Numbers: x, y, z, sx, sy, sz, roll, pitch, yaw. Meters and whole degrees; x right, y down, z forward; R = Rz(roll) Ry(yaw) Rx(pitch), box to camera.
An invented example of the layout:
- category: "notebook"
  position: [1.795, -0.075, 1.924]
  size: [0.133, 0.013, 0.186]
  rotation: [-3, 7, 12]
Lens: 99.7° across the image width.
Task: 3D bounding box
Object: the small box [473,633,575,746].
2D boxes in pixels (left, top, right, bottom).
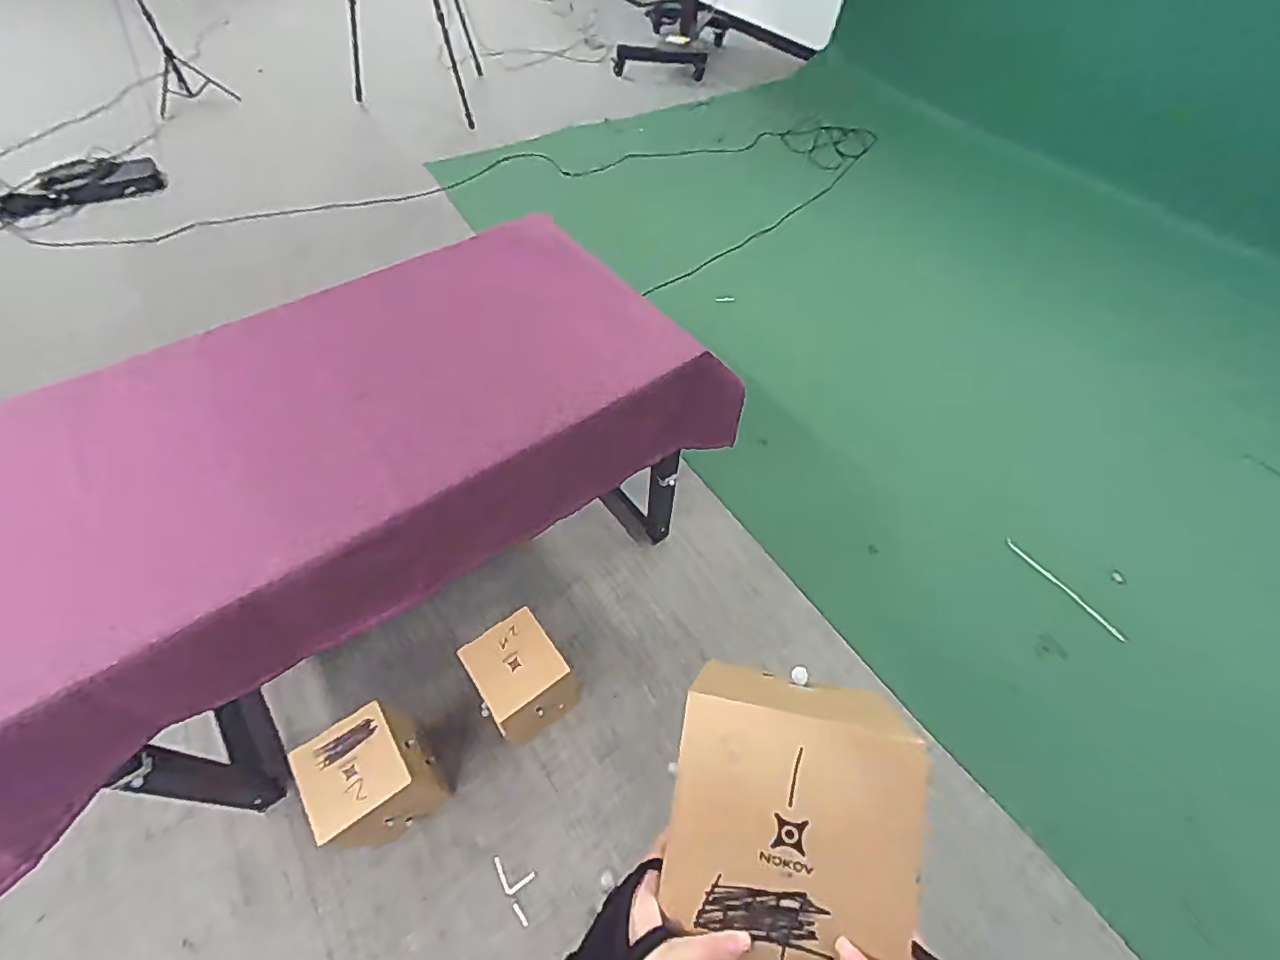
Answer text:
- category: "small box"
  position: [-0.271, 0.507, 1.300]
  size: [0.179, 0.176, 0.168]
  rotation: [-30, 61, -21]

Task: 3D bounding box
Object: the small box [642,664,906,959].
- category: "small box"
  position: [0.110, 0.269, 0.457]
  size: [0.168, 0.176, 0.179]
  rotation: [7, 80, 14]
